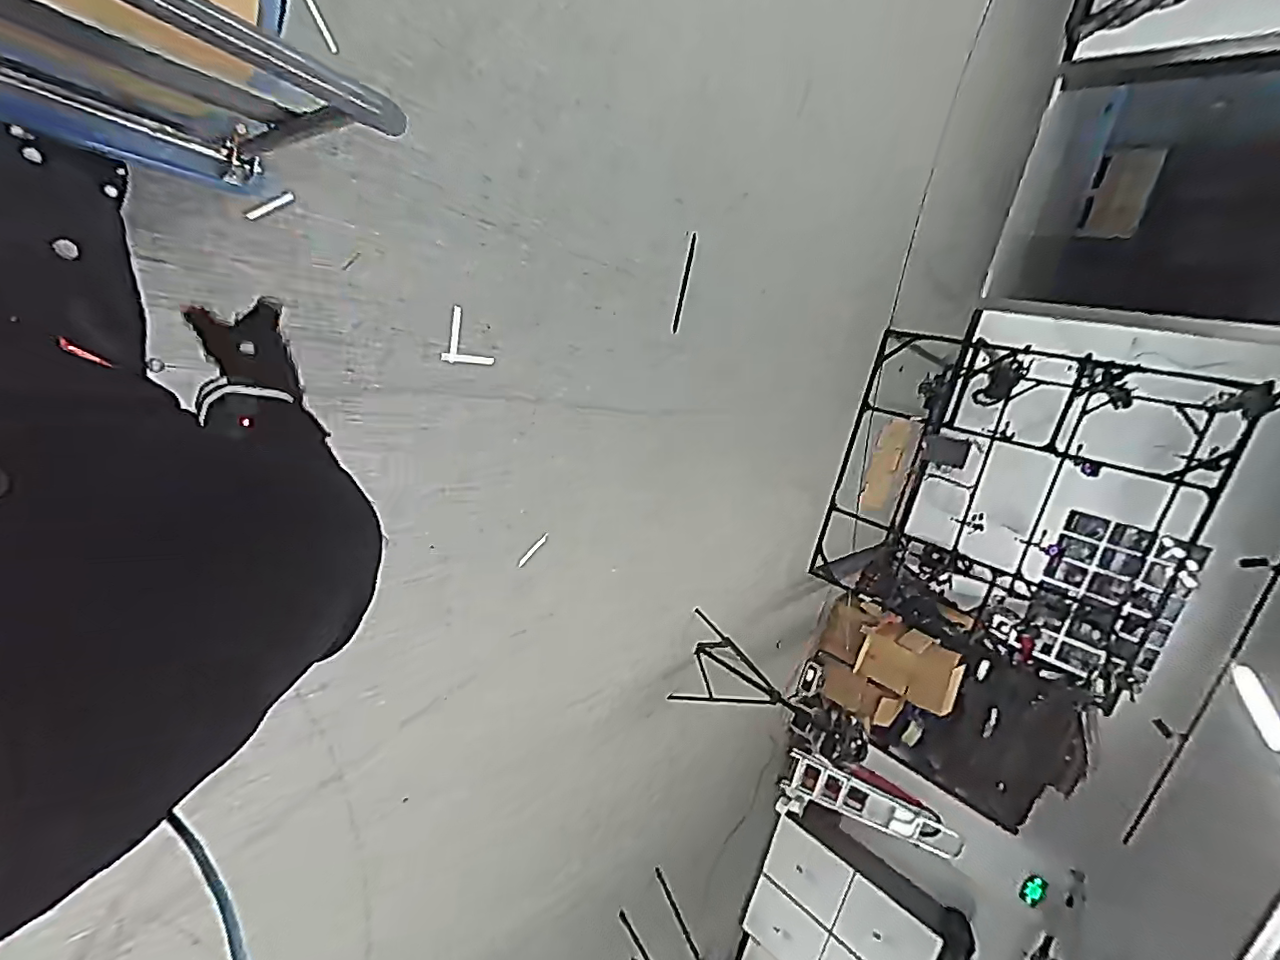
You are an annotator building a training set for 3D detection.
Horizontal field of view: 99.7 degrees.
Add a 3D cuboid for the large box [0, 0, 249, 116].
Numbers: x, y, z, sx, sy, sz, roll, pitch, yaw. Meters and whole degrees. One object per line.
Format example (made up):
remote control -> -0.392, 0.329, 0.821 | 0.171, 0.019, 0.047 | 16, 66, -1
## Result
large box -> -0.747, -0.703, 0.641 | 0.408, 0.320, 0.320 | -2, 111, -51
